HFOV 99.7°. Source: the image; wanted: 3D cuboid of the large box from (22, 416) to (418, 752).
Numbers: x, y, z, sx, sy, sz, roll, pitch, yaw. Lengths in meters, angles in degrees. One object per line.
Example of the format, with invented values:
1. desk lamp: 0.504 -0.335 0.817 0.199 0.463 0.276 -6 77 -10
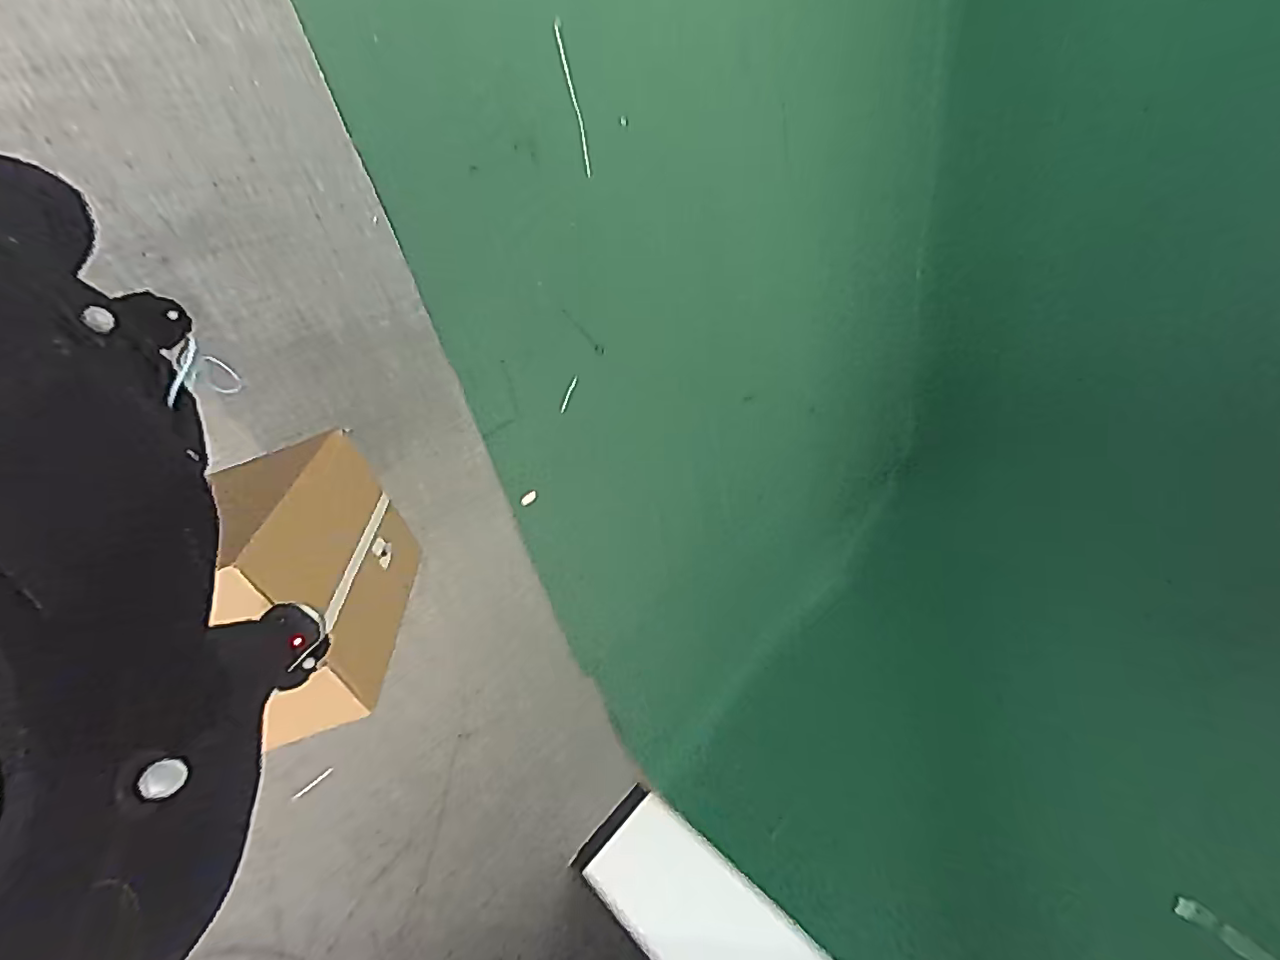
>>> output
1. large box: -0.622 0.153 0.906 0.320 0.408 0.320 -19 122 0
